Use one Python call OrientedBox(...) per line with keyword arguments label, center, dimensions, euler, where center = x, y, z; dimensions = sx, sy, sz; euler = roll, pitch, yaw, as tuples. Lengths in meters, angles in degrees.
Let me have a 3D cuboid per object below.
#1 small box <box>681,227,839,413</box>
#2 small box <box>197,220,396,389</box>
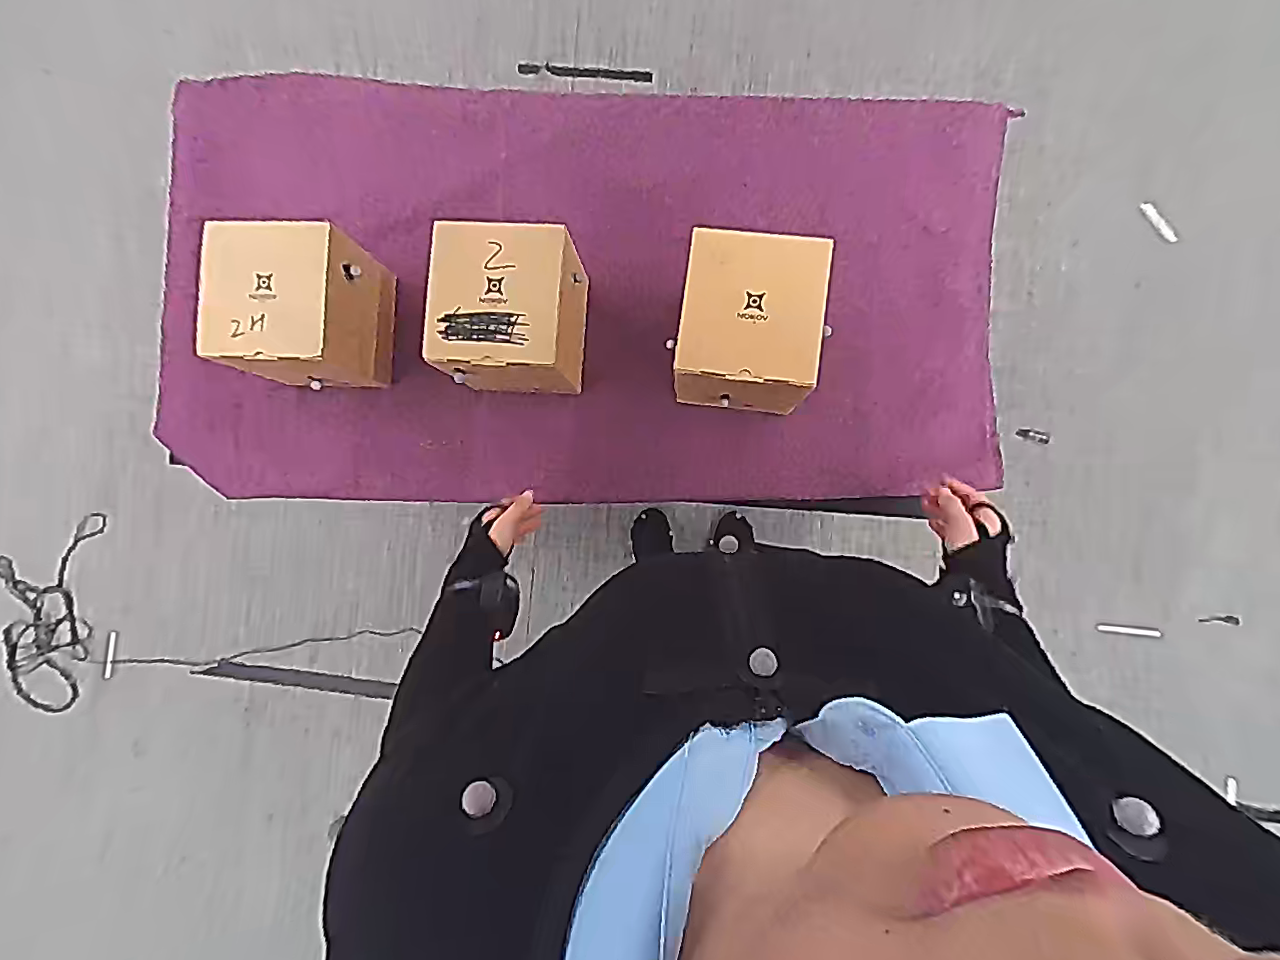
OrientedBox(label="small box", center=(0.143, -0.196, 0.701), dimensions=(0.168, 0.176, 0.179), euler=(7, 87, 5))
OrientedBox(label="small box", center=(-0.457, -0.231, 0.746), dimensions=(0.168, 0.176, 0.179), euler=(2, 88, 3))
